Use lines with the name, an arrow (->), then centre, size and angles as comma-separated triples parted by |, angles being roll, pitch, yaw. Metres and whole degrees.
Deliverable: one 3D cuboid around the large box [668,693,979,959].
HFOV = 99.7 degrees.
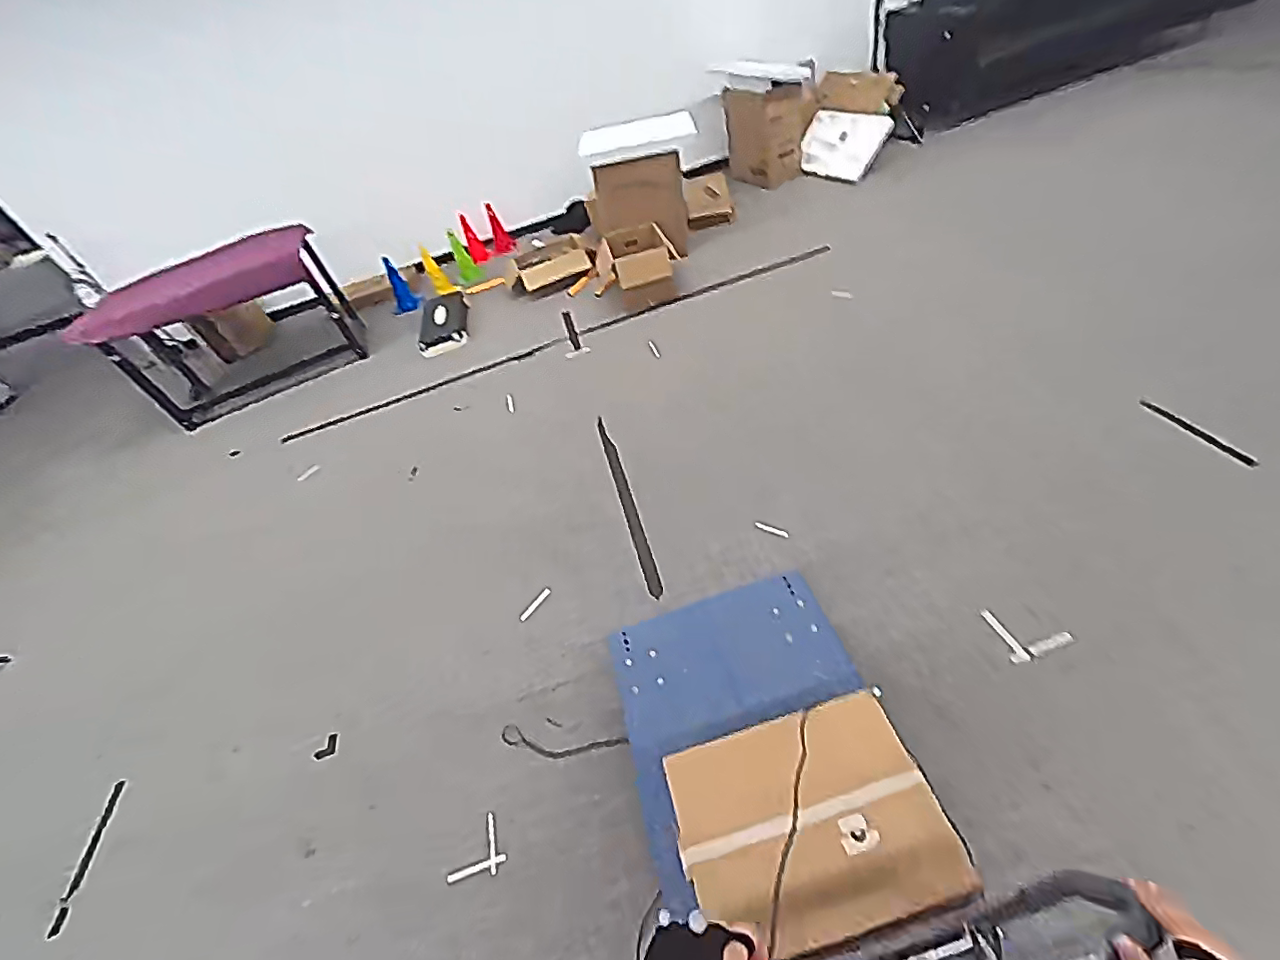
large box -> 0.301, 0.658, 0.984 | 0.408, 0.320, 0.320 | -18, 44, -2
